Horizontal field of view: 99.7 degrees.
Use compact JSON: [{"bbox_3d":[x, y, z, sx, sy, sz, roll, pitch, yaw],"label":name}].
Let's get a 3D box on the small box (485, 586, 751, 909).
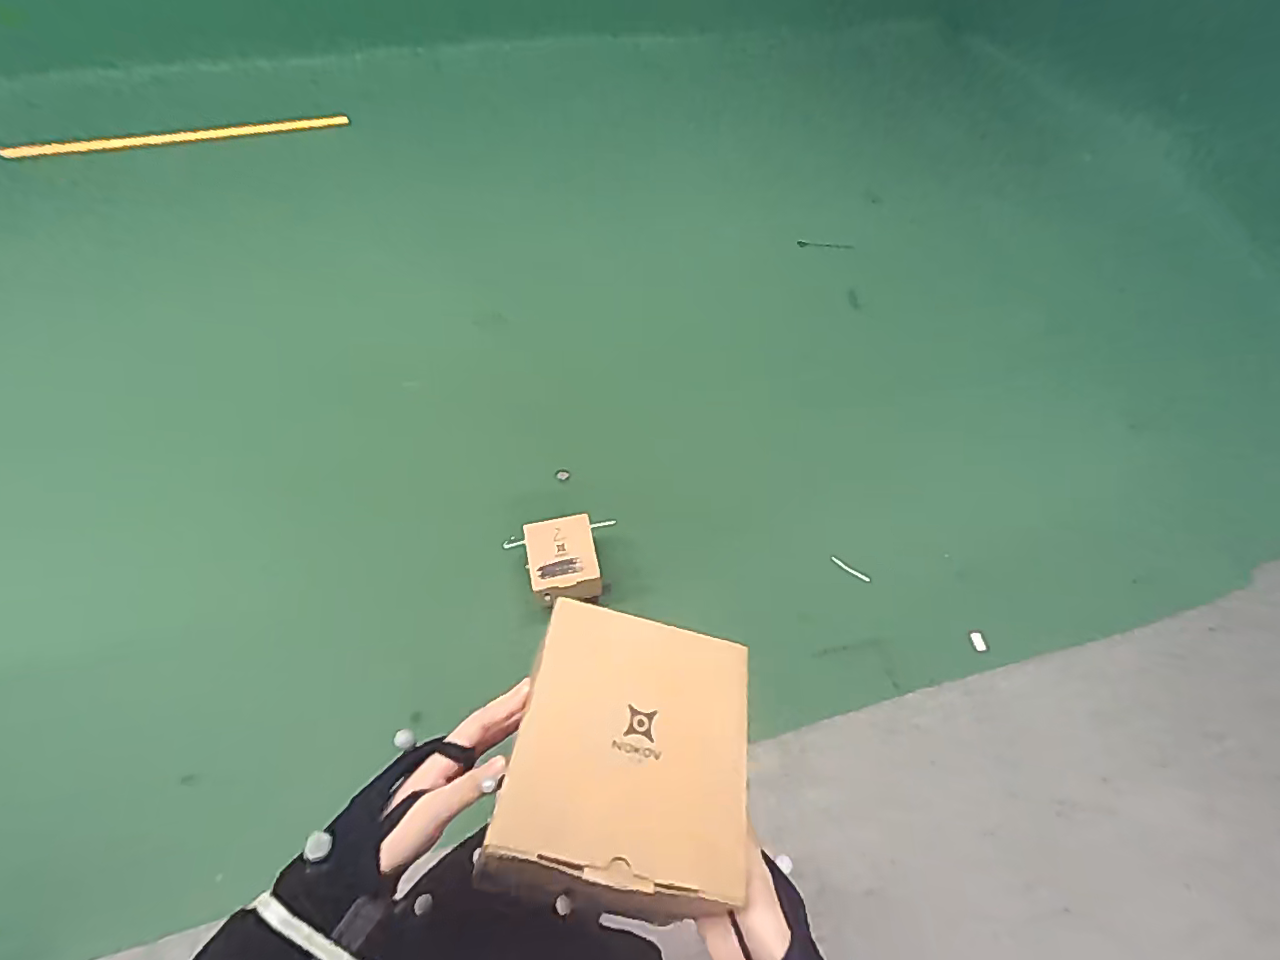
[{"bbox_3d":[-0.020,0.220,0.441,0.168,0.176,0.179,17,47,-5],"label":"small box"}]
